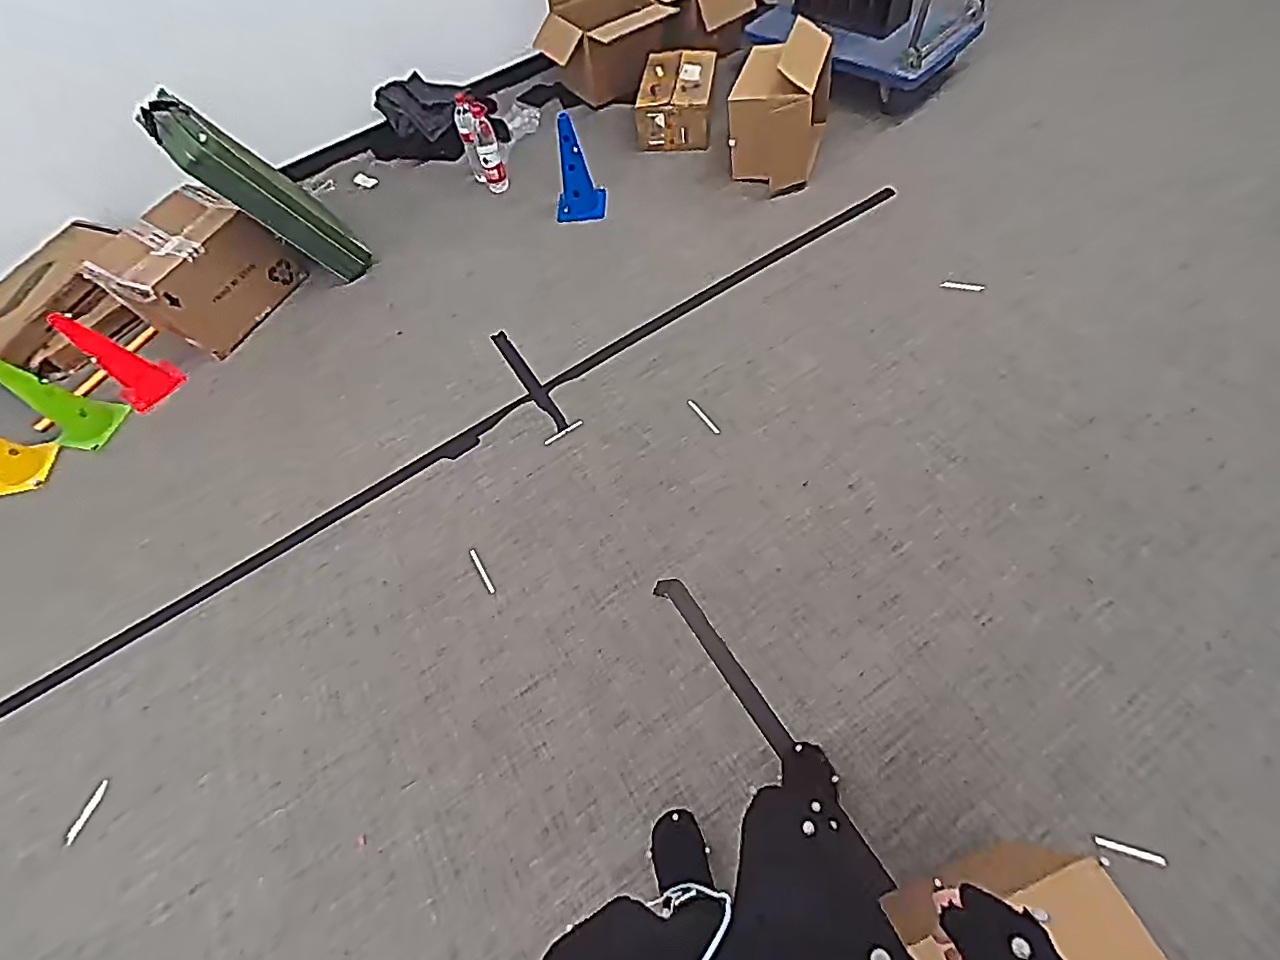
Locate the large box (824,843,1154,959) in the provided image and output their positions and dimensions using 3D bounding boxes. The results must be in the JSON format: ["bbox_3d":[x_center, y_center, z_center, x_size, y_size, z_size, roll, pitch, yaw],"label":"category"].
[{"bbox_3d":[0.579,0.853,0.881,0.408,0.320,0.320,-21,61,-6],"label":"large box"}]
